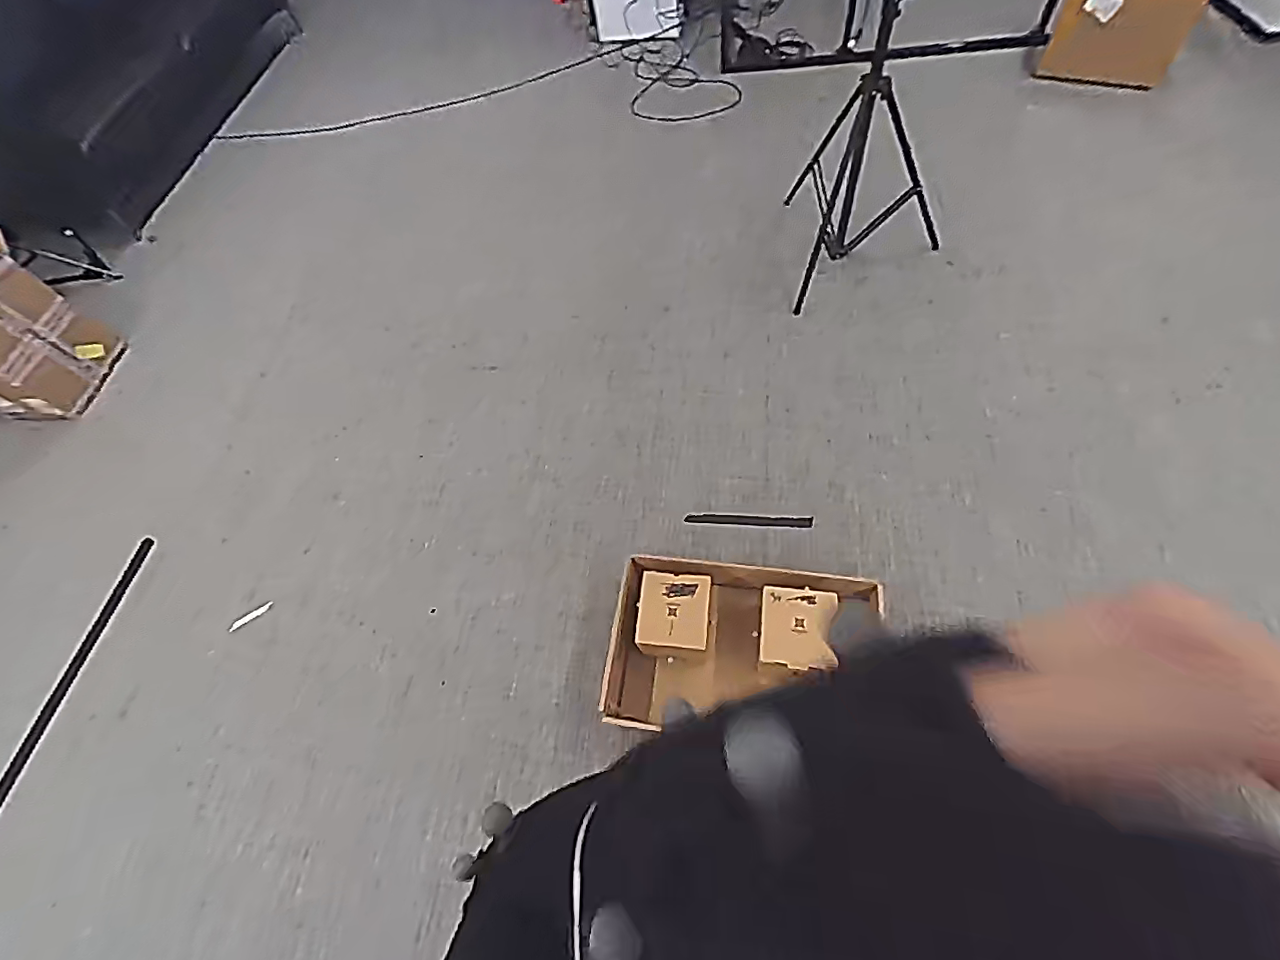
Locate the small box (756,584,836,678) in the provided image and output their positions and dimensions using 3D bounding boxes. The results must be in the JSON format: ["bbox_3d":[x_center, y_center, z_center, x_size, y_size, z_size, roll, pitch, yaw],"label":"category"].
[{"bbox_3d":[0.365,0.362,1.279,0.168,0.176,0.179,4,64,12],"label":"small box"}]
